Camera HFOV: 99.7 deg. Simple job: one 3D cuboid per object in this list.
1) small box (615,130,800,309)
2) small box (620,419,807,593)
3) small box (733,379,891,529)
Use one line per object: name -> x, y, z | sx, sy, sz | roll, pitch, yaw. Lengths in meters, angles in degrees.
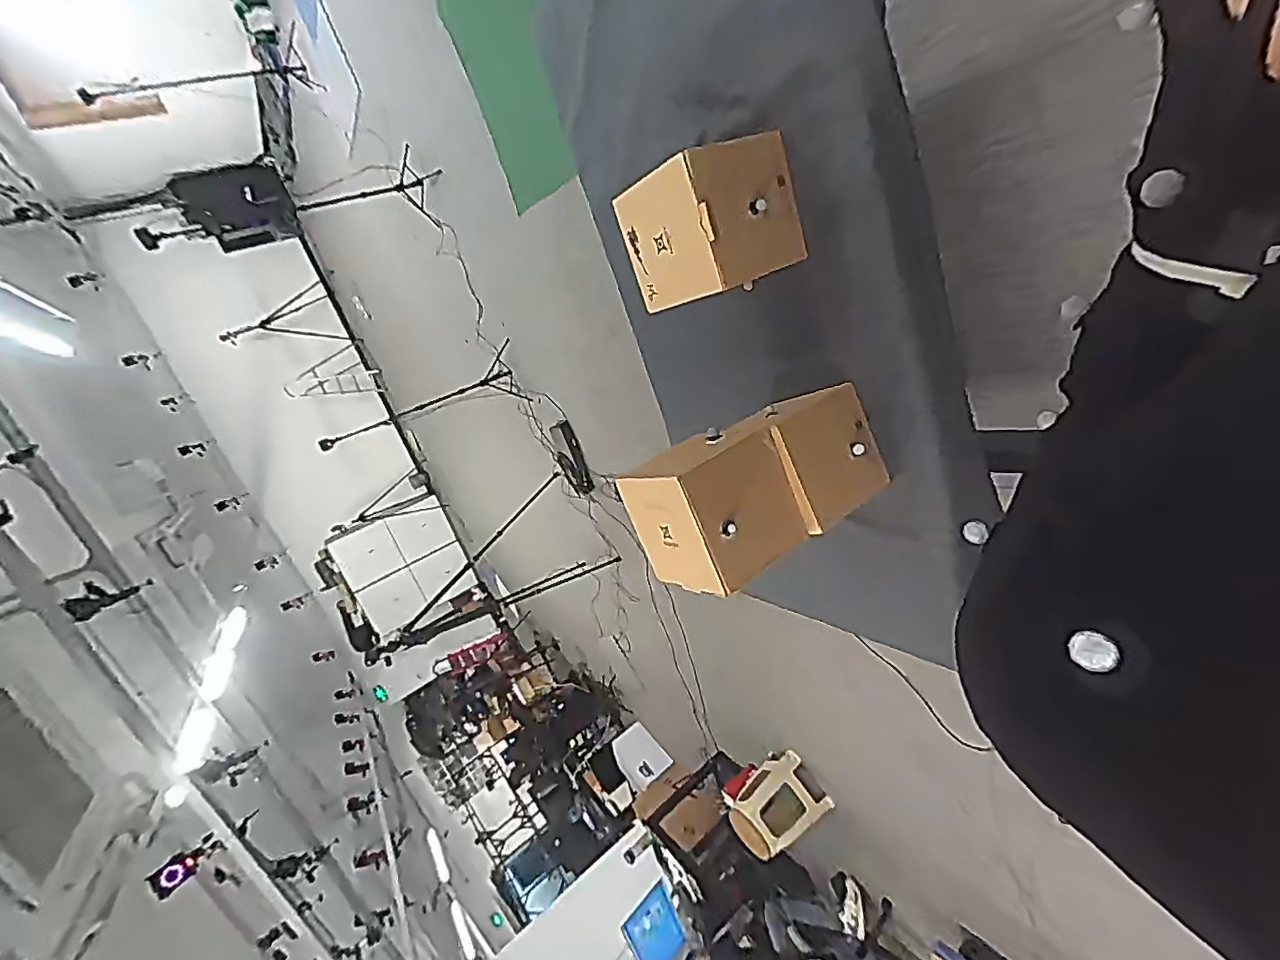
small box -> 0.100, -0.359, 0.756 | 0.179, 0.176, 0.168 | 8, 124, 57
small box -> 0.107, 0.032, 0.768 | 0.168, 0.176, 0.179 | -3, 113, 59
small box -> 0.242, -0.036, 0.829 | 0.179, 0.176, 0.168 | -10, 108, 61
